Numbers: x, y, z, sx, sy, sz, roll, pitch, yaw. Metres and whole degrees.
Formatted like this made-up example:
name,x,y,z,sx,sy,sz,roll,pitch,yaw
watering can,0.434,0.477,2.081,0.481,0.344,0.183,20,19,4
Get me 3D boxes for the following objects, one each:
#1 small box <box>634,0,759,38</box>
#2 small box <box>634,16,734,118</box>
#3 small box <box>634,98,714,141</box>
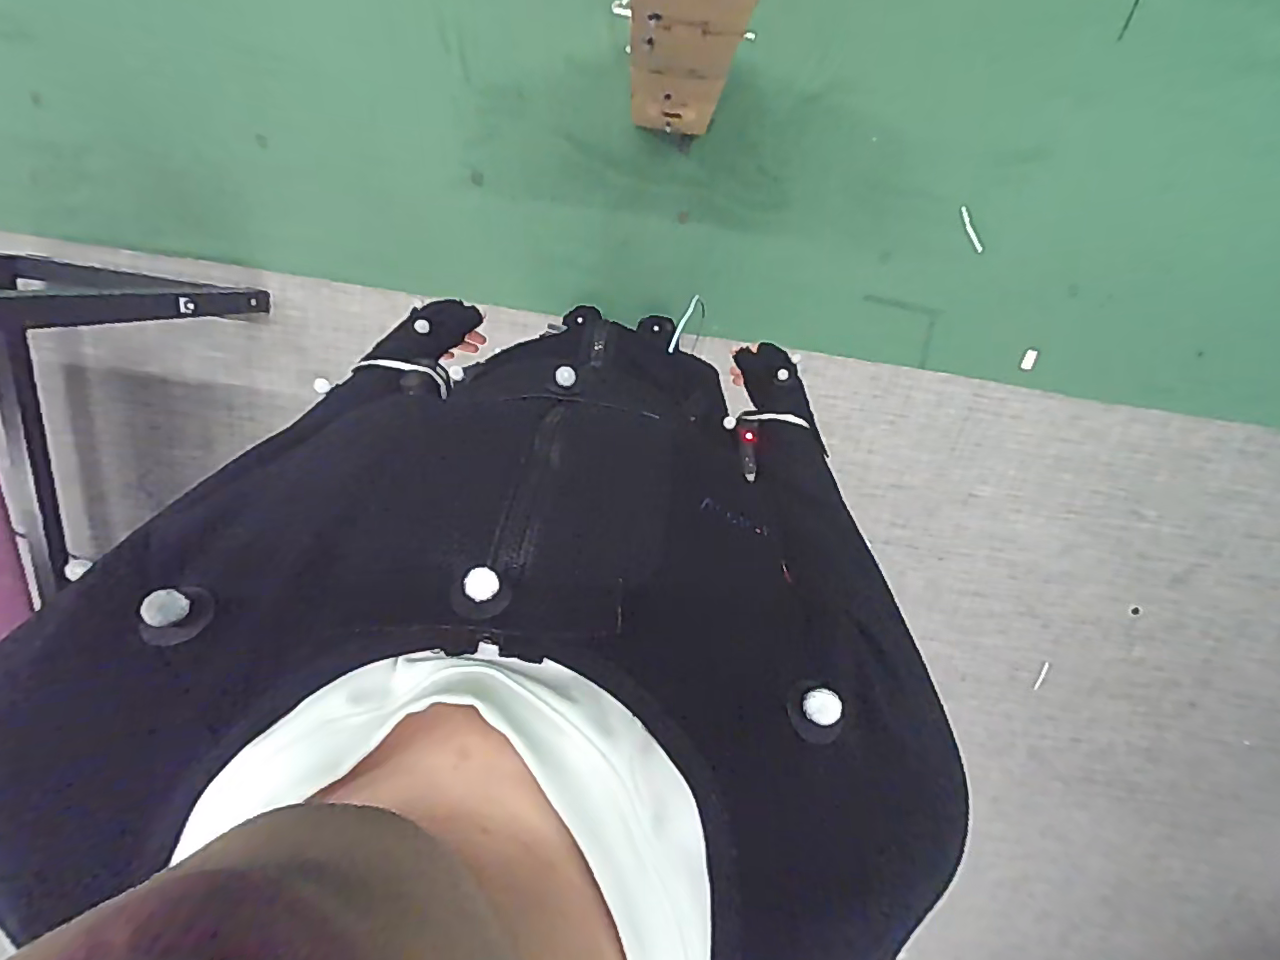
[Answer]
name,x,y,z,sx,sy,sz,roll,pitch,yaw
small box,0.079,-0.695,0.675,0.168,0.176,0.179,4,108,-2
small box,0.077,-0.797,0.988,0.168,0.176,0.179,5,109,-2
small box,0.079,-0.848,1.142,0.168,0.176,0.179,7,108,-2
